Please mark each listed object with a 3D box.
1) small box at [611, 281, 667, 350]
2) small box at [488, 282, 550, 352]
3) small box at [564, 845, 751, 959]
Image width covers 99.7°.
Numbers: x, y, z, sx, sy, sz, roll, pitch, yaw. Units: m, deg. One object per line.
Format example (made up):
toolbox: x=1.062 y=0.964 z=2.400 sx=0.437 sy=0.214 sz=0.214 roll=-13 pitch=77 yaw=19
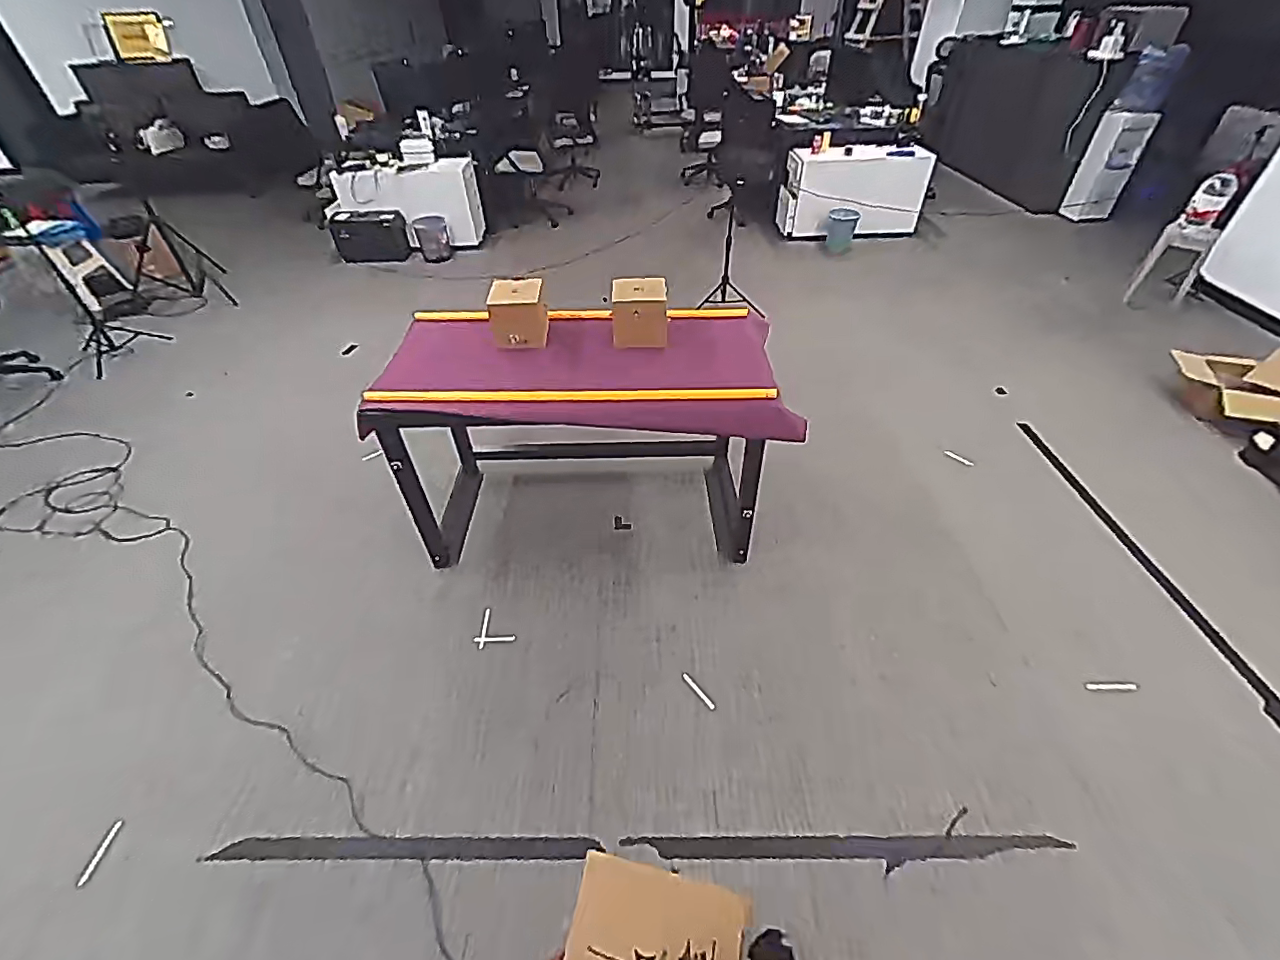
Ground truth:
small box: x=0.001 y=-0.545 z=1.797 sx=0.179 sy=0.176 sz=0.168 roll=-1 pitch=44 yaw=1
small box: x=-0.400 y=-0.547 z=1.815 sx=0.168 sy=0.176 sz=0.179 roll=-3 pitch=44 yaw=0
small box: x=0.011 y=0.522 z=0.596 sx=0.179 sy=0.176 sz=0.168 roll=12 pitch=54 yaw=6
